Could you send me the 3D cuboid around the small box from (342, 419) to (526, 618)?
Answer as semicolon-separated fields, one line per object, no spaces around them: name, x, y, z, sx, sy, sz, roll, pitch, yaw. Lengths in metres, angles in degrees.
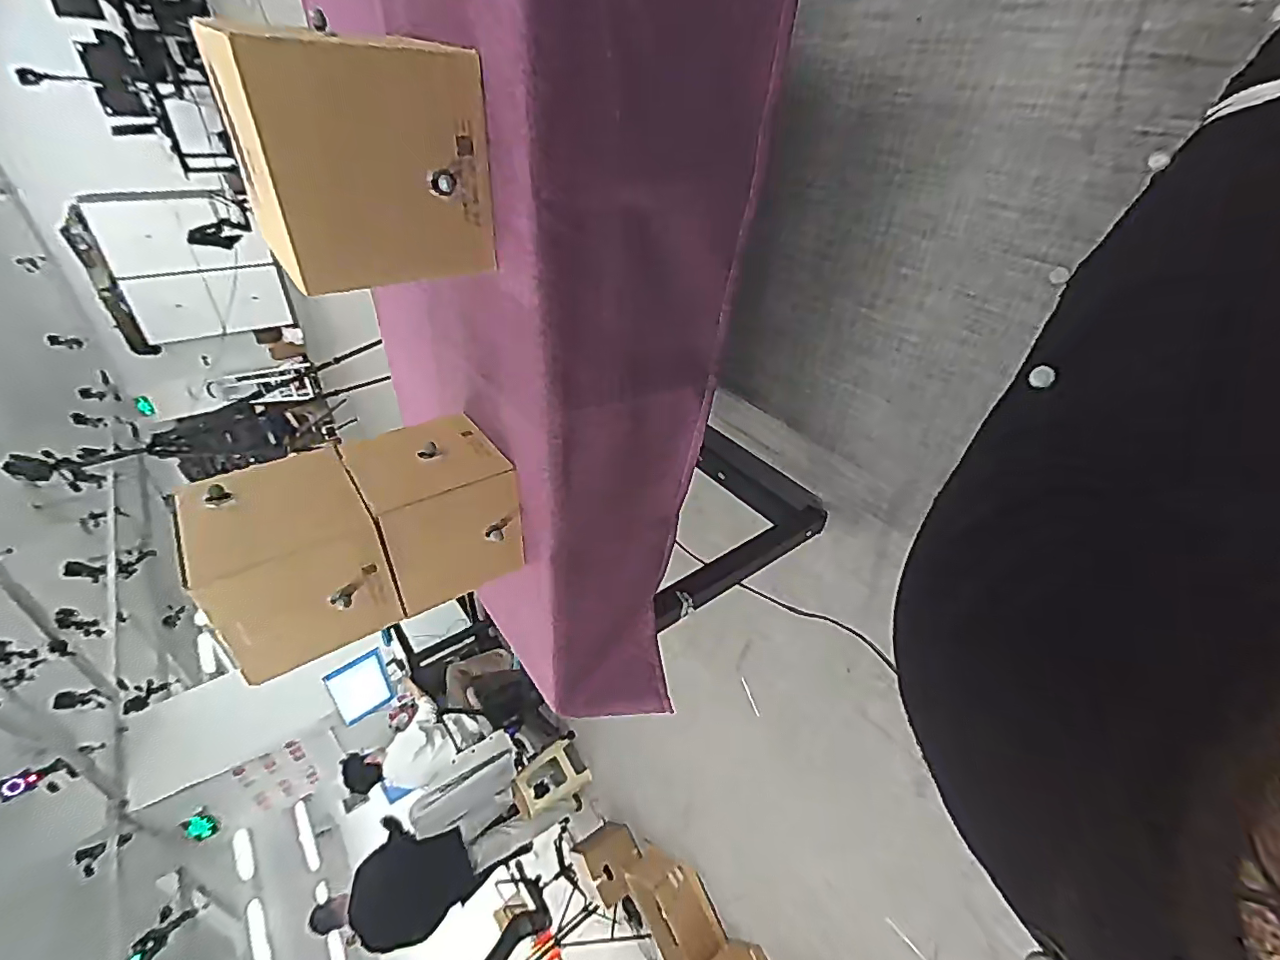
small box;-0.264;0.040;0.717;0.168;0.176;0.179;40;138;38

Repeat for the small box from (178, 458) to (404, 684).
small box;-0.398;0.092;0.633;0.179;0.176;0.168;40;140;36
